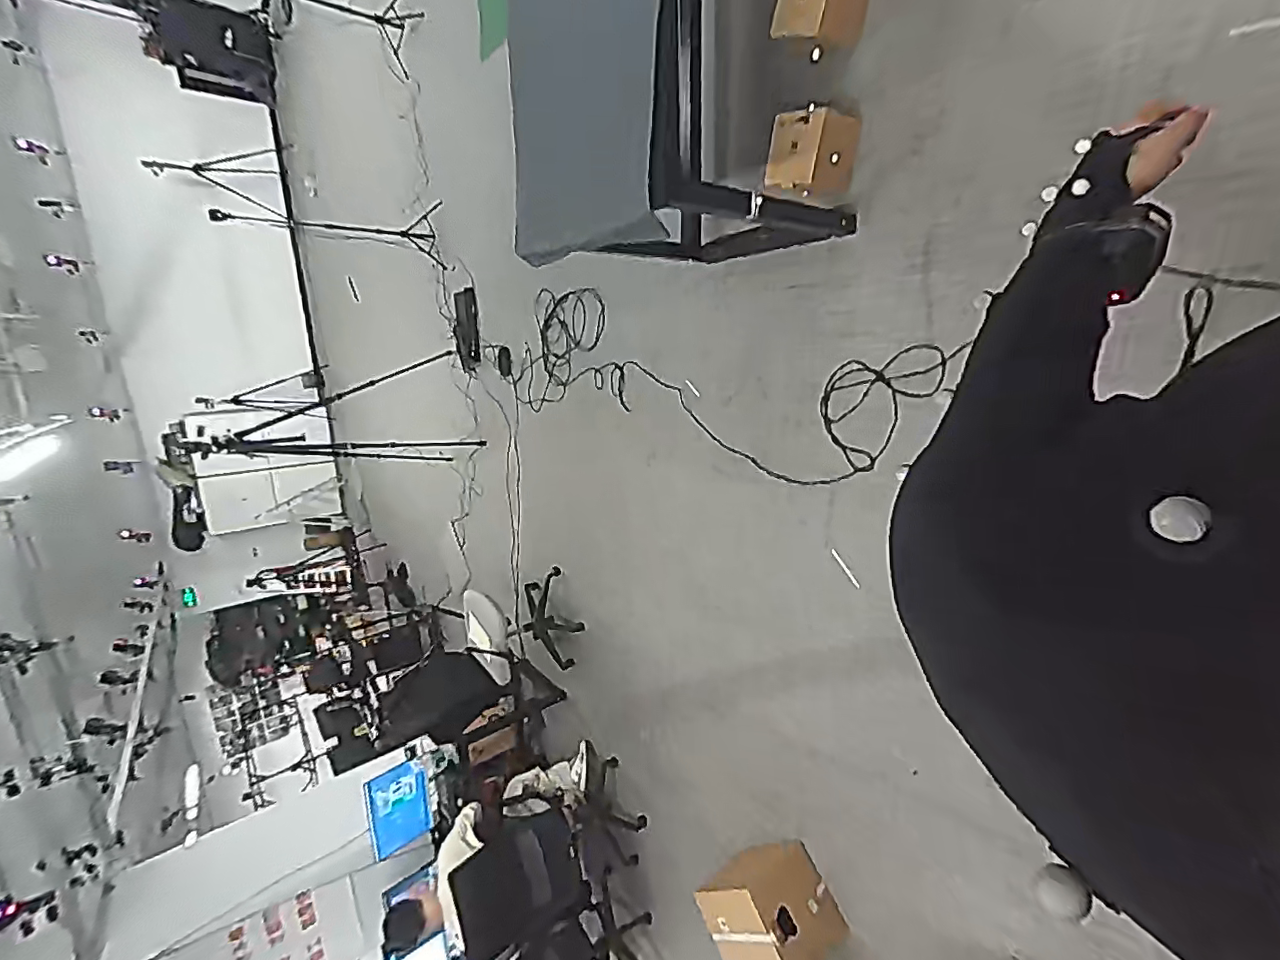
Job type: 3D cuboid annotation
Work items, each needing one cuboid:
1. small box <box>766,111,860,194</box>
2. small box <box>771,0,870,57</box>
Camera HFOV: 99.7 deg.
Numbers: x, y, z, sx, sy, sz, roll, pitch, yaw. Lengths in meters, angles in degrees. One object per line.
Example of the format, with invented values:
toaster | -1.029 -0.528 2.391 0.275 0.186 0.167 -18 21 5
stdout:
small box | 0.479 -0.897 1.497 0.168 0.176 0.179 31 124 44
small box | 0.476 -1.232 1.403 0.168 0.176 0.179 40 131 40
